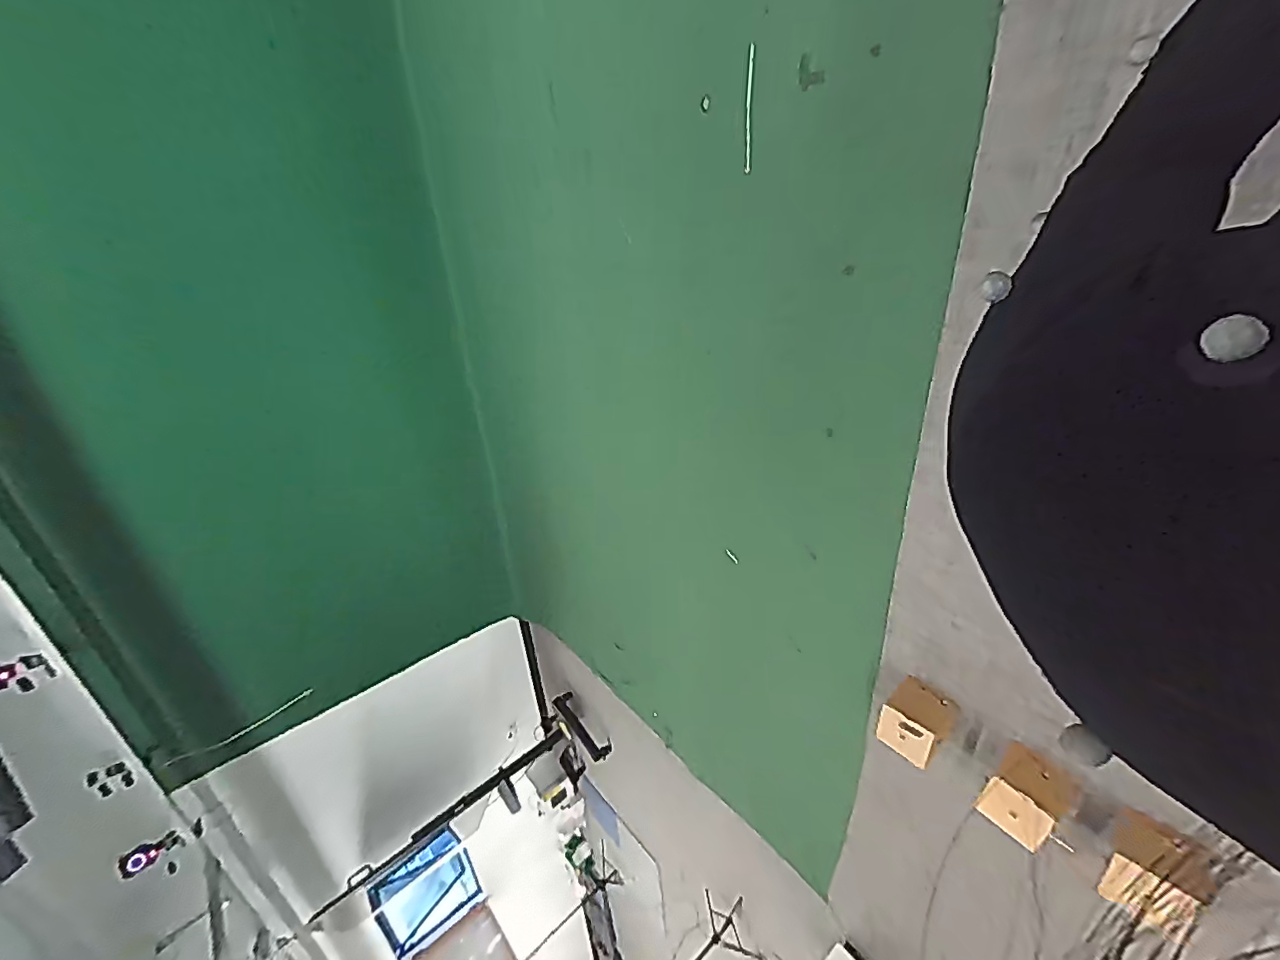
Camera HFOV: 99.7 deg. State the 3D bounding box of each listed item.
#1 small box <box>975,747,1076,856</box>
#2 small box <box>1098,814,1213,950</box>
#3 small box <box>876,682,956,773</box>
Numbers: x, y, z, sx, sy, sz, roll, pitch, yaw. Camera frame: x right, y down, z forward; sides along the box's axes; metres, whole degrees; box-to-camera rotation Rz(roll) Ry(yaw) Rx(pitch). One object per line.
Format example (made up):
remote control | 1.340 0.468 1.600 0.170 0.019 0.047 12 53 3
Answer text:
small box | 1.116 0.923 1.566 0.168 0.176 0.179 32 133 40
small box | 1.299 1.002 1.361 0.168 0.176 0.179 21 124 45
small box | 0.910 0.807 1.780 0.168 0.176 0.179 27 131 44
